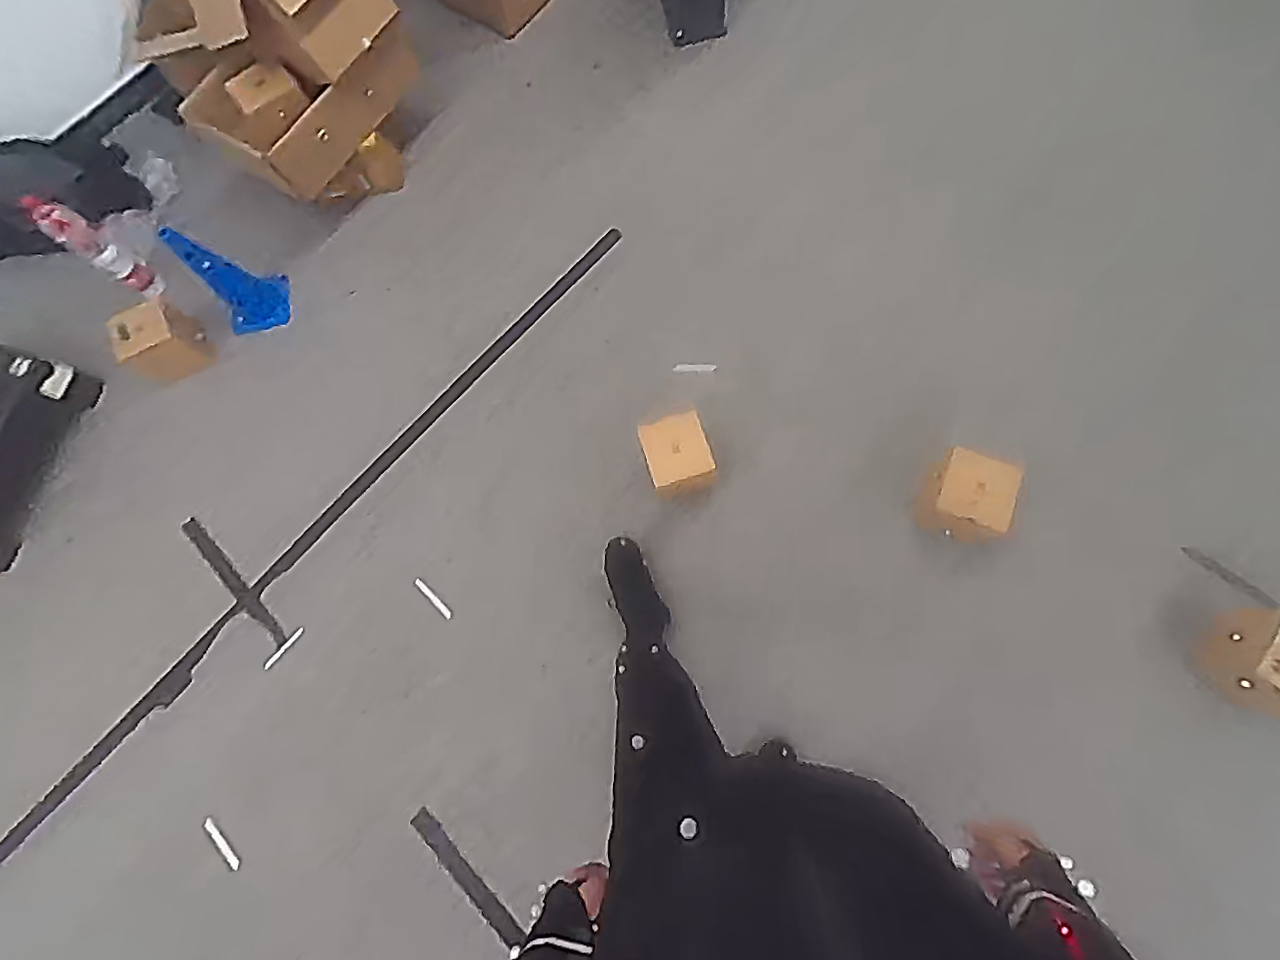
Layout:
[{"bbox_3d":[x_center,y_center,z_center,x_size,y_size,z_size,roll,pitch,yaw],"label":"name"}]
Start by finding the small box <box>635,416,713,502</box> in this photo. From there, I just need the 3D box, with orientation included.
[{"bbox_3d":[0.097,-0.048,1.484,0.168,0.176,0.179,-19,73,1],"label":"small box"}]

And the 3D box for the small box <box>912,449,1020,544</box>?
[{"bbox_3d":[0.828,0.048,1.390,0.168,0.176,0.179,21,77,11],"label":"small box"}]
